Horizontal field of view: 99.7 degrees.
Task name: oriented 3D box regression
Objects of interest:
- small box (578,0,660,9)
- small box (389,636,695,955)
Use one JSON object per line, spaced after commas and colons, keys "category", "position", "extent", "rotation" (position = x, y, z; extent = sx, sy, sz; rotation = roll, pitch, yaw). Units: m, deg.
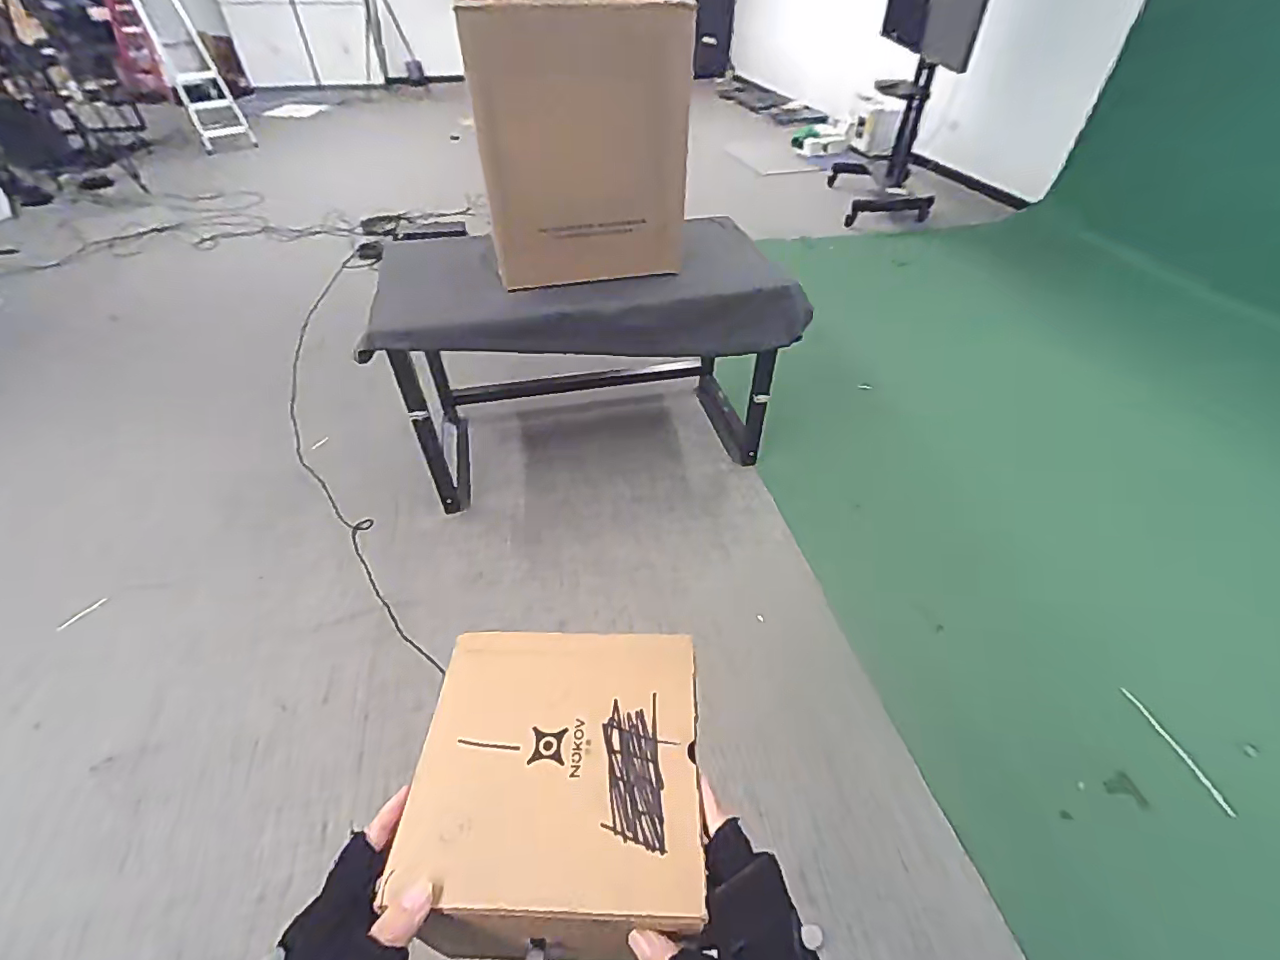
{"category": "small box", "position": [-0.050, -1.175, 1.215], "extent": [0.168, 0.176, 0.179], "rotation": [-9, 45, -12]}
{"category": "small box", "position": [-0.054, 0.241, 0.416], "extent": [0.179, 0.176, 0.168], "rotation": [2, 41, 2]}
